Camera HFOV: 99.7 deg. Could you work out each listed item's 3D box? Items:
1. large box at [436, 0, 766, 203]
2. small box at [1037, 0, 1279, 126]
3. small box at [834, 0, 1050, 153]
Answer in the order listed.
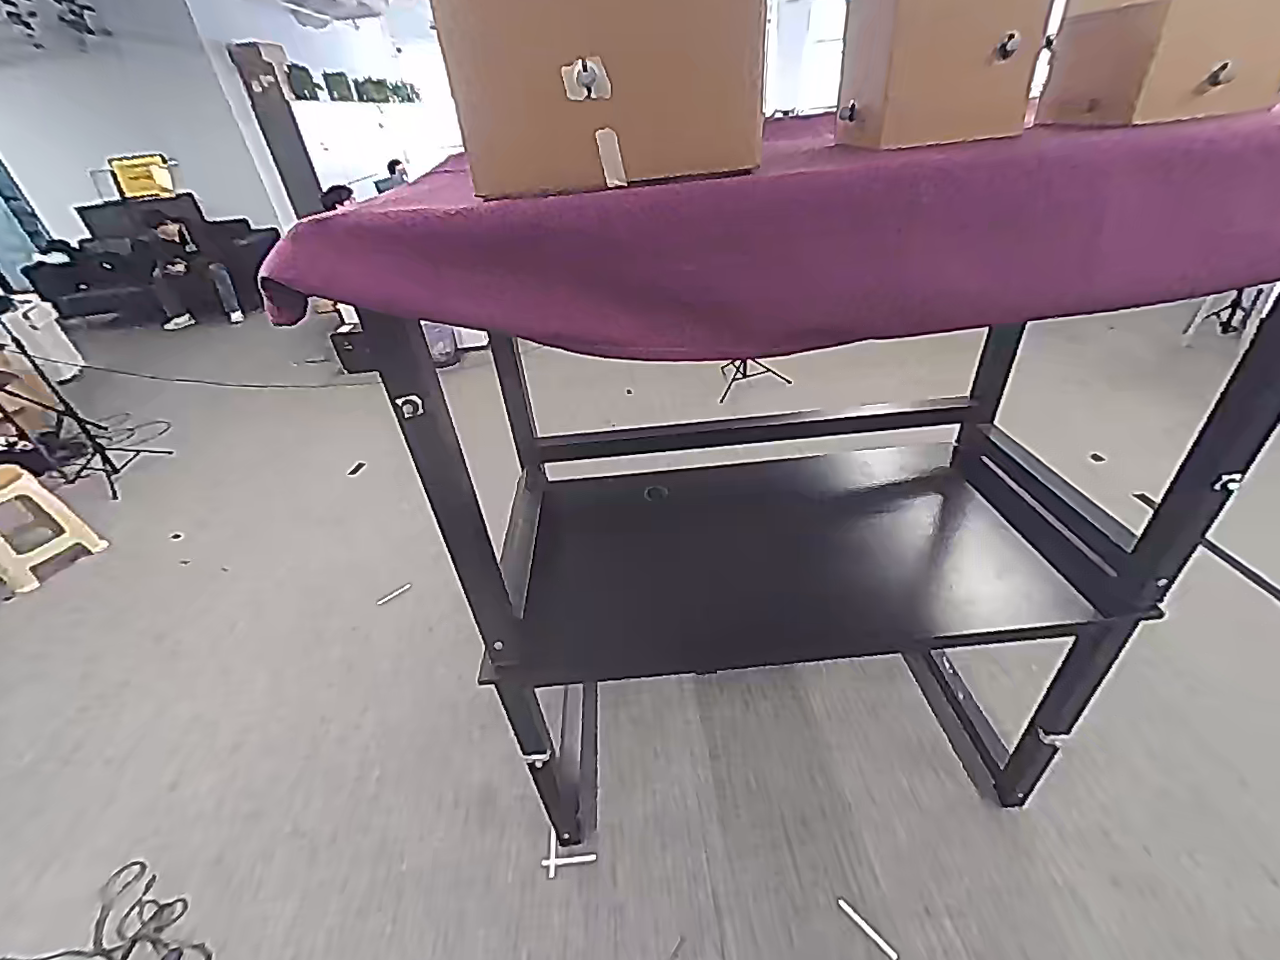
[{"bbox_3d":[-0.049,-0.540,0.652,0.320,0.320,0.408,-6,33,0],"label":"large box"},{"bbox_3d":[0.625,-0.530,0.639,0.179,0.176,0.168,-7,33,-1],"label":"small box"},{"bbox_3d":[0.359,-0.518,0.672,0.179,0.176,0.168,-6,34,1],"label":"small box"}]
